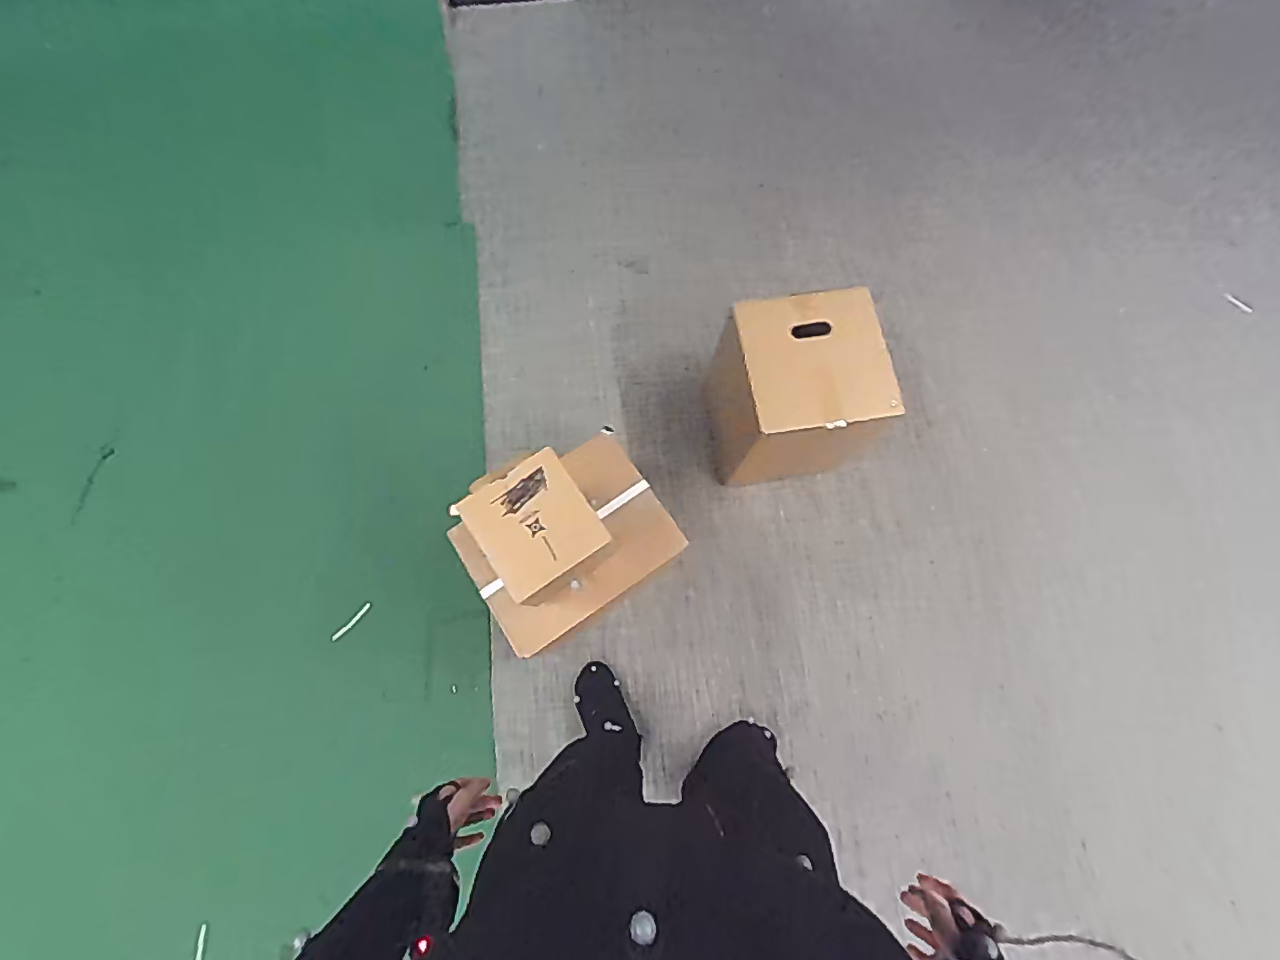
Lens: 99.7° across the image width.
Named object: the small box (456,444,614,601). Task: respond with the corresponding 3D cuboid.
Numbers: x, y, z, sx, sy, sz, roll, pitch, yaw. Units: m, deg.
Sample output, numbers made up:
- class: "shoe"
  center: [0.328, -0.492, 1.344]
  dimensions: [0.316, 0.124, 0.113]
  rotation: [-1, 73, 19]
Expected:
- class: "small box"
  center: [-0.156, 0.077, 0.855]
  dimensions: [0.168, 0.176, 0.179]
  rotation: [-34, 79, -8]
